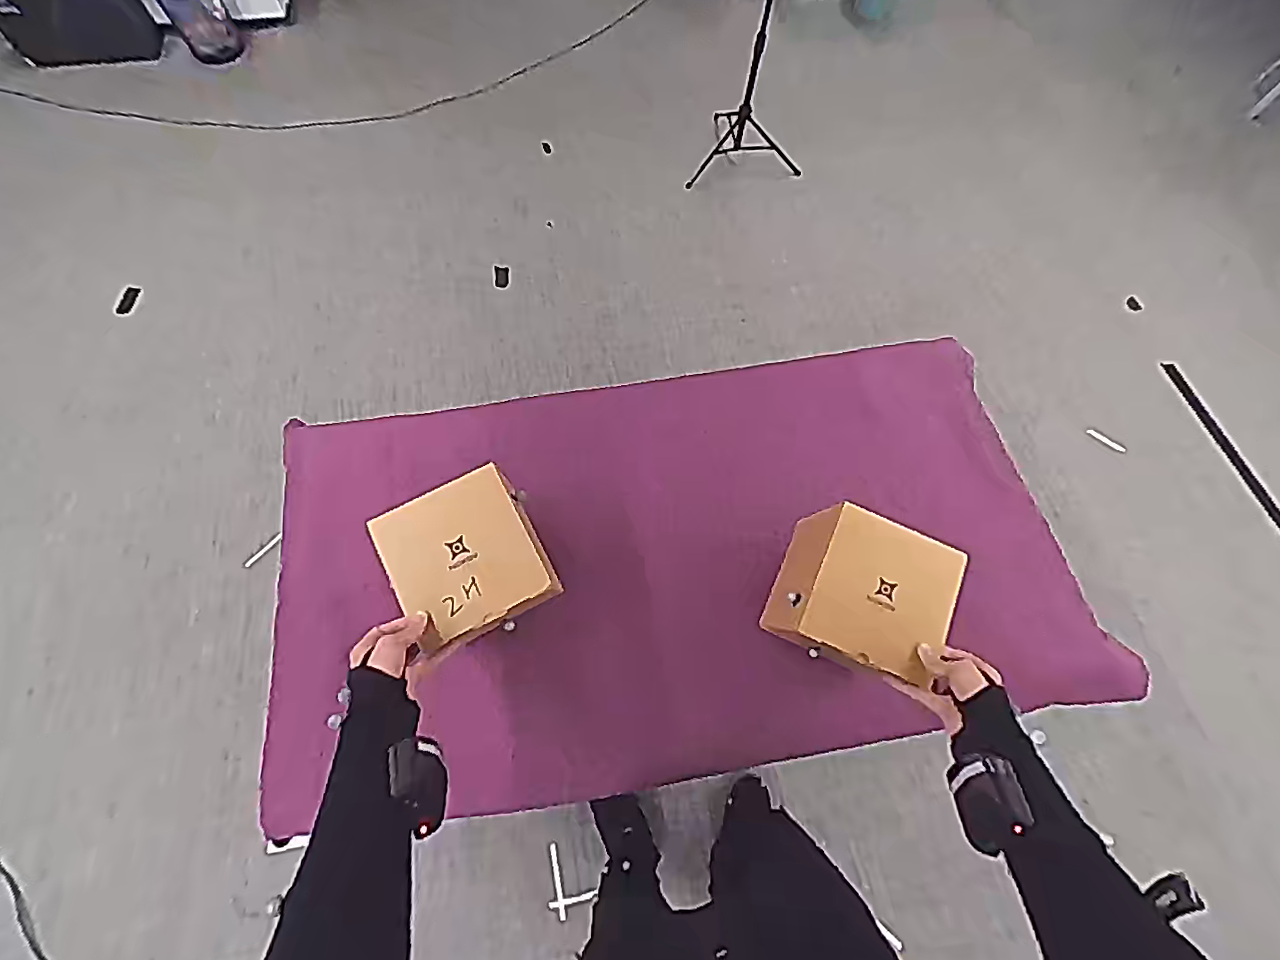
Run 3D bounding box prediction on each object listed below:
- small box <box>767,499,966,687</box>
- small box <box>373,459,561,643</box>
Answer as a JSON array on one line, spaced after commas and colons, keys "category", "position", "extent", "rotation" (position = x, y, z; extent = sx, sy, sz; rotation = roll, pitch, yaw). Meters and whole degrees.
[{"category": "small box", "position": [0.289, 0.148, 0.726], "extent": [0.168, 0.176, 0.179], "rotation": [24, 78, 4]}, {"category": "small box", "position": [-0.219, 0.100, 0.726], "extent": [0.168, 0.176, 0.179], "rotation": [-27, 80, -9]}]
